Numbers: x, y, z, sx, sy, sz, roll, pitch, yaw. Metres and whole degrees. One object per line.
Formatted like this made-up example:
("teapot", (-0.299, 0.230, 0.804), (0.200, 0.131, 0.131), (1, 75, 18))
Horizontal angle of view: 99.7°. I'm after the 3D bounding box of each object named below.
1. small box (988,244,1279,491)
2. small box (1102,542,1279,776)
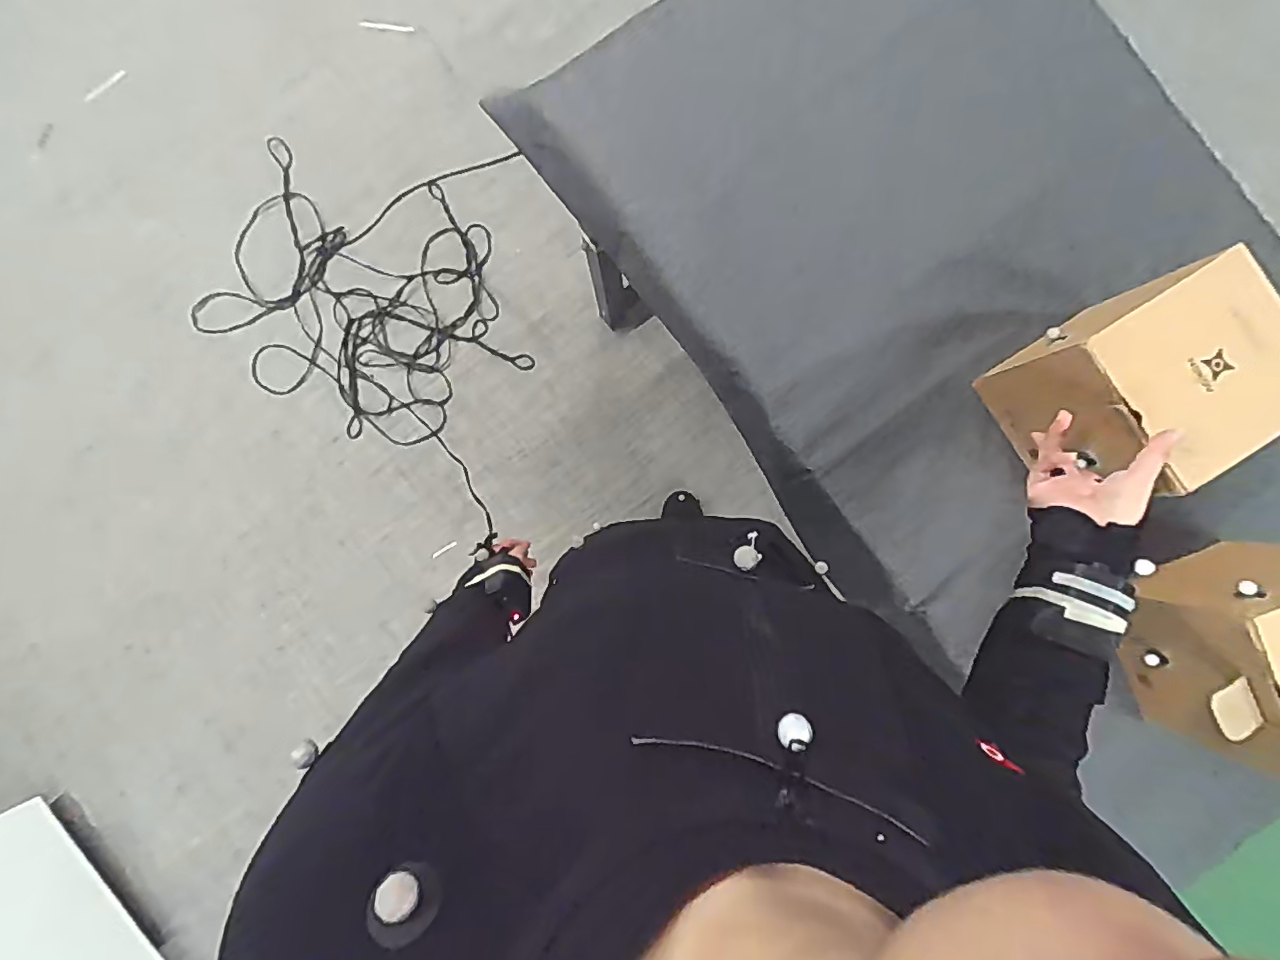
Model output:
("small box", (0.510, -0.097, 0.564), (0.179, 0.176, 0.168), (-33, 89, -2))
("small box", (0.642, 0.169, 0.550), (0.179, 0.176, 0.168), (-20, 88, 0))
